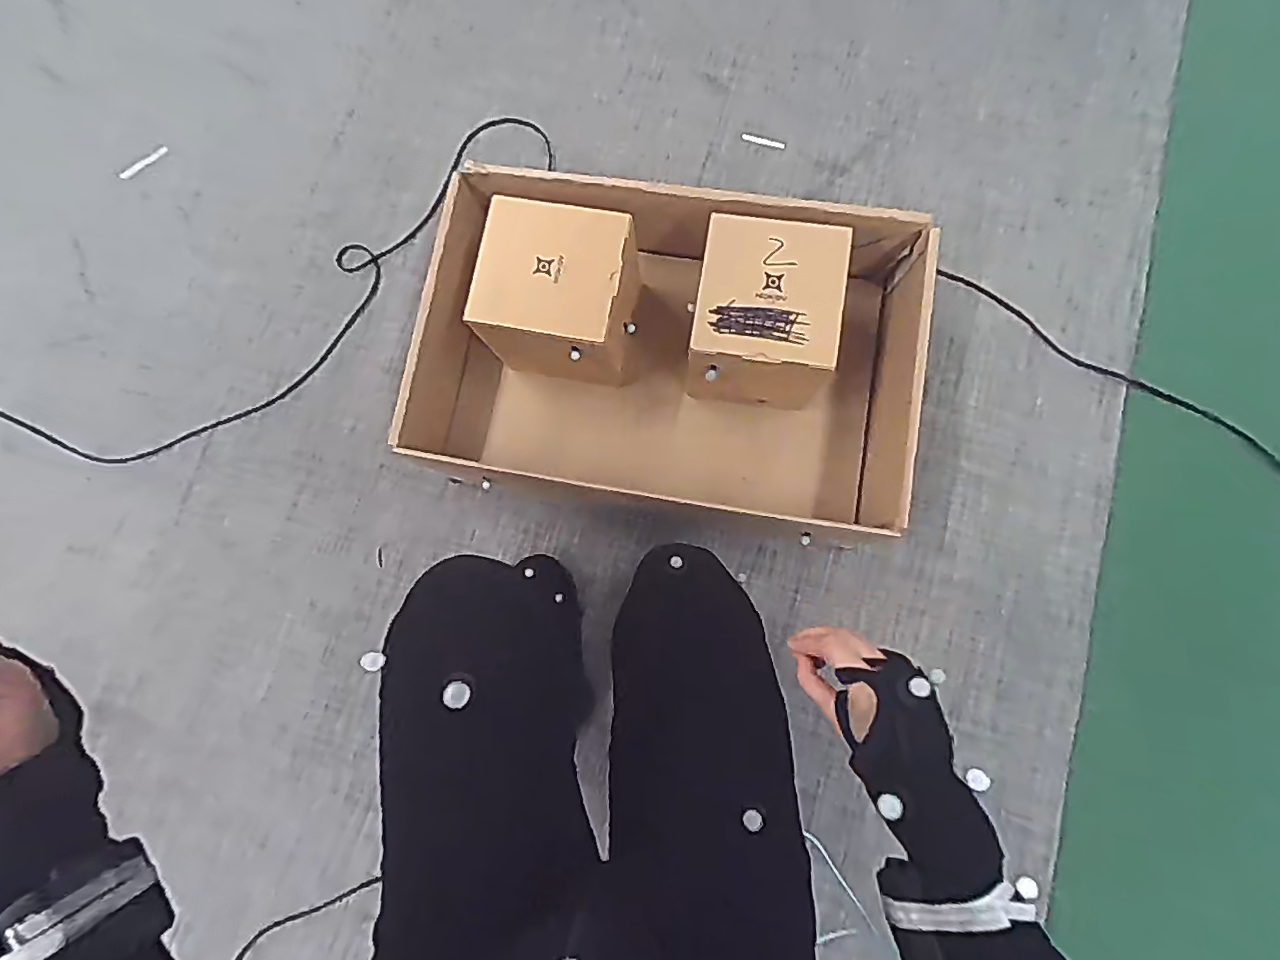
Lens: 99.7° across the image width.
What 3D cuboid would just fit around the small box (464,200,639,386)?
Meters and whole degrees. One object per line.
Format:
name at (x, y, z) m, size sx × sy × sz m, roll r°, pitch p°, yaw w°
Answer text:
small box at (-0.105, -0.237, 0.722) m, size 0.179 × 0.176 × 0.168 m, roll 10°, pitch 83°, yaw 5°
